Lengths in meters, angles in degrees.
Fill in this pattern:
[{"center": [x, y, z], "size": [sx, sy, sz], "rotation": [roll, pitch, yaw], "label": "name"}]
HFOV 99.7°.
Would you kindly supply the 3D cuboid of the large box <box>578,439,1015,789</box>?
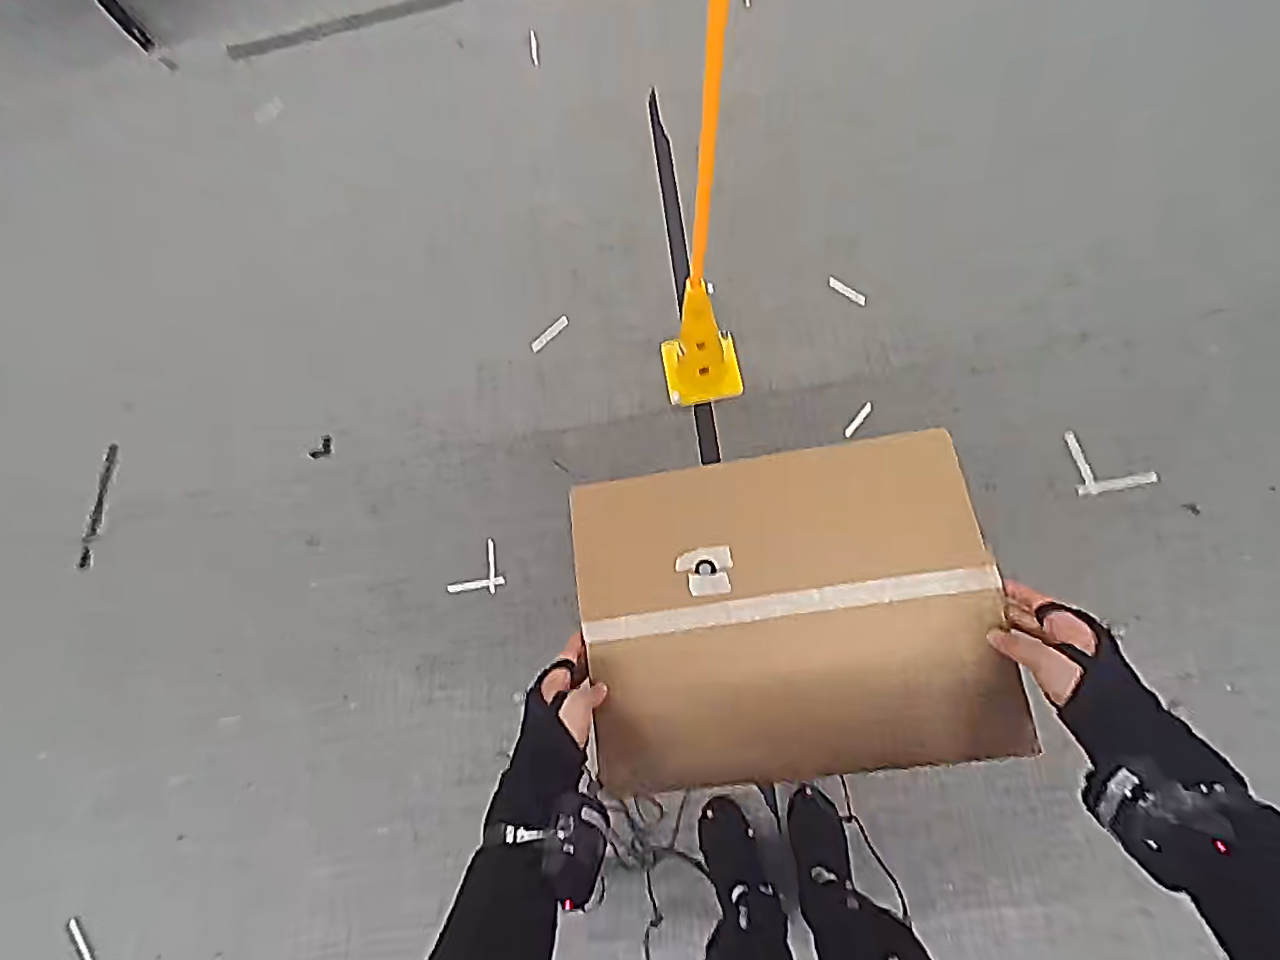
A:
[{"center": [0.166, 0.167, 0.710], "size": [0.408, 0.320, 0.320], "rotation": [-10, 75, 7], "label": "large box"}]
